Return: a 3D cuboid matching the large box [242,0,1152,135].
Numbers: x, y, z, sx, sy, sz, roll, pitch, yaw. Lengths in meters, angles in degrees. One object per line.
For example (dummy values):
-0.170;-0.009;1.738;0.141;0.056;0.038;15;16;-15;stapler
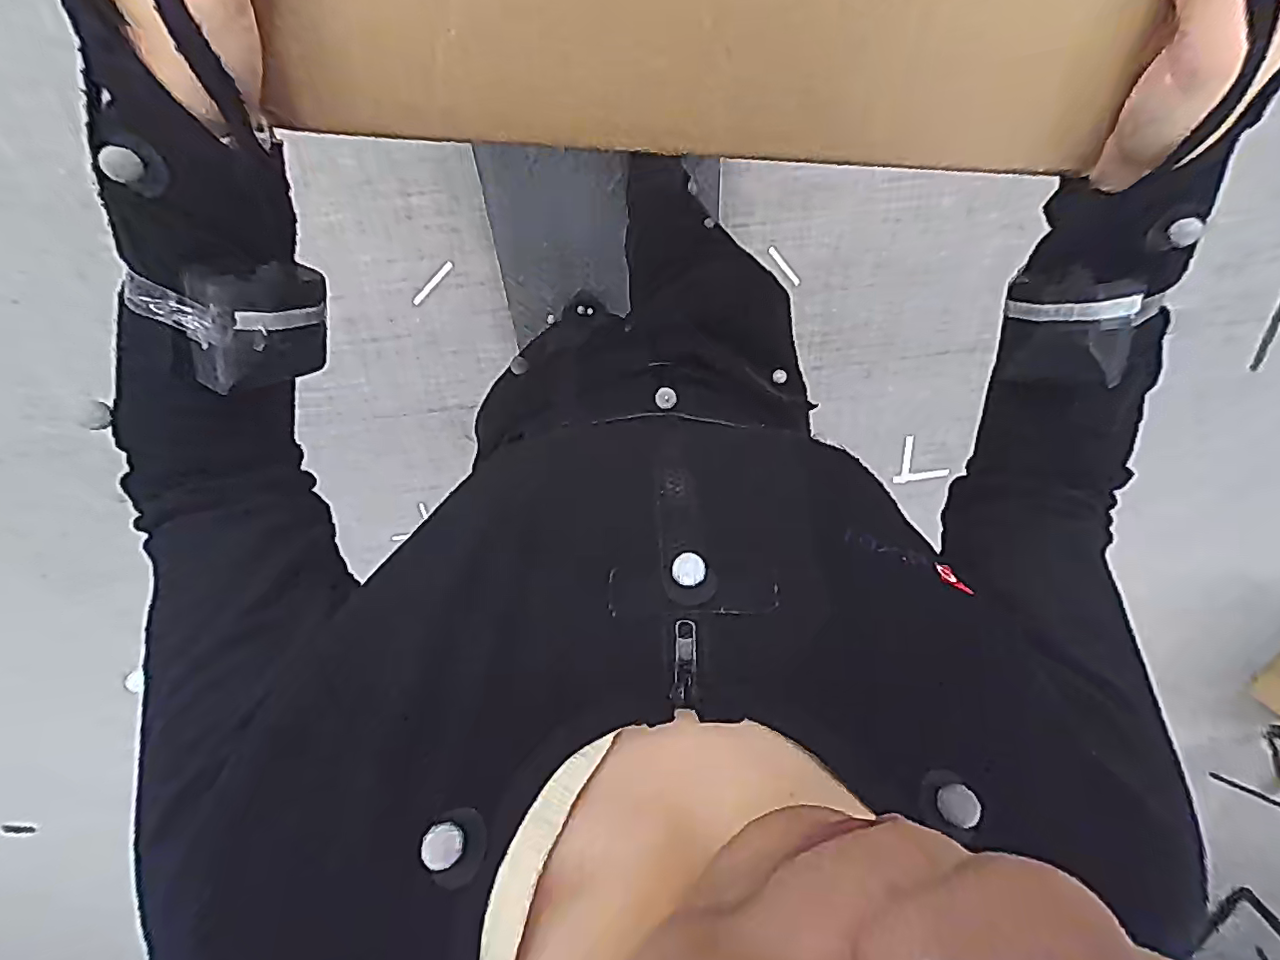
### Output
0.027;-0.389;0.264;0.408;0.320;0.320;0;135;-5;large box
